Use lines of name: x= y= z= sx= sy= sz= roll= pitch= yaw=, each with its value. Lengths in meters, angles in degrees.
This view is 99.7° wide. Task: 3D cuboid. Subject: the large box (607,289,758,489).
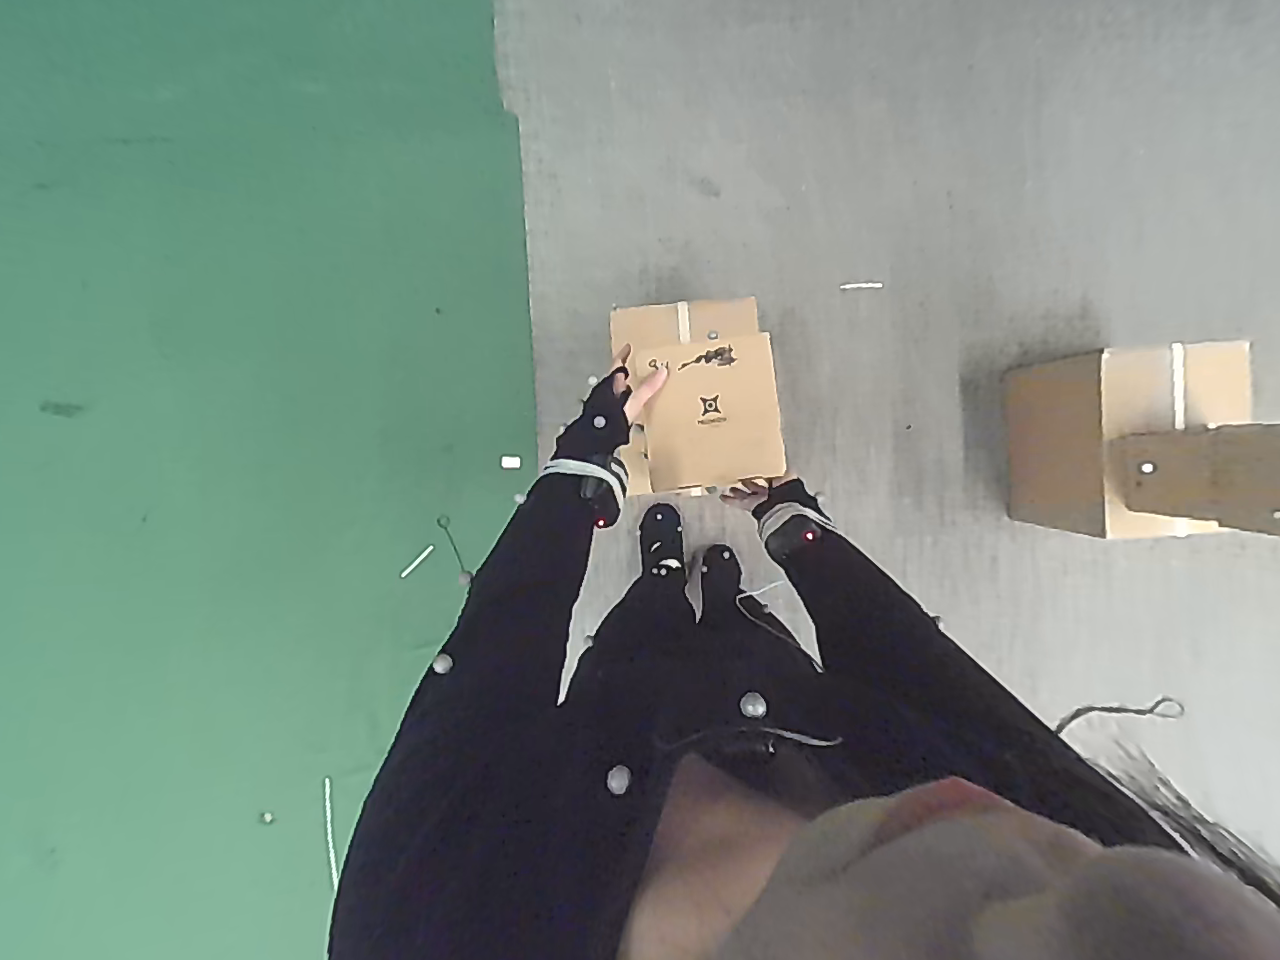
large box: x=0.105 y=-0.198 z=1.295 sx=0.320 sy=0.320 sz=0.408 roll=-5 pitch=93 yaw=1

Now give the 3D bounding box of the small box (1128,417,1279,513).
small box: x=1.111 y=-0.035 z=1.052 sx=0.179 sy=0.176 sz=0.168 roll=-6 pitch=95 yaw=2

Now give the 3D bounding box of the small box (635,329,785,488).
small box: x=0.088 y=-0.092 z=0.729 sx=0.168 sy=0.176 sz=0.179 roll=-8 pitch=94 yaw=1
